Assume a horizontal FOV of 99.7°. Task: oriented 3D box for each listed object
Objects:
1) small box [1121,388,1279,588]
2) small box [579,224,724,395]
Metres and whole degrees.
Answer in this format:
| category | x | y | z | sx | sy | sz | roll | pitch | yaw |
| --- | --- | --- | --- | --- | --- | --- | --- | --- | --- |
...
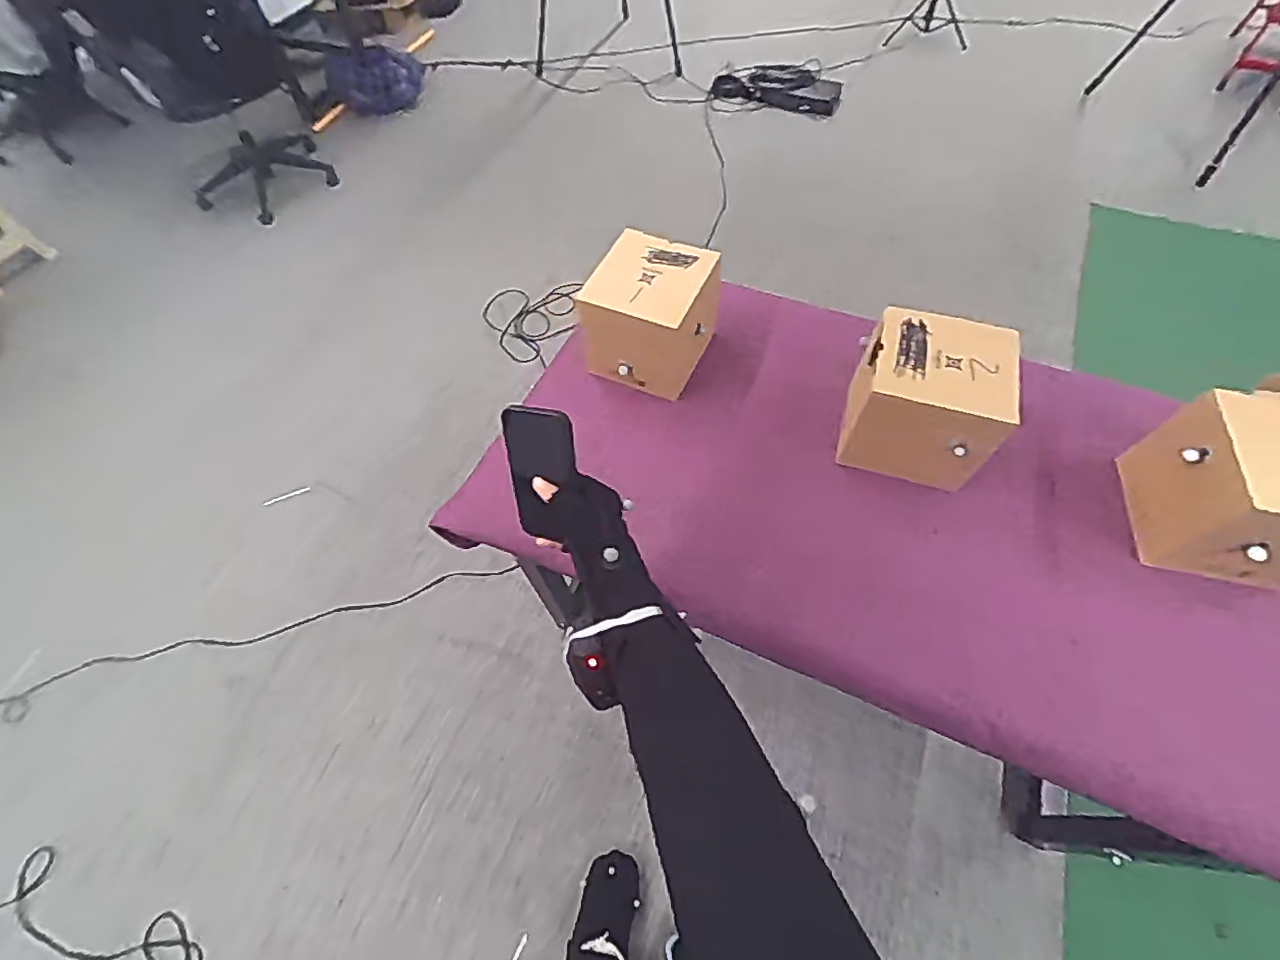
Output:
| category | x | y | z | sx | sy | sz | roll | pitch | yaw |
| --- | --- | --- | --- | --- | --- | --- | --- | --- | --- |
| small box | 0.756 | 0.016 | 0.673 | 0.168 | 0.176 | 0.179 | 11 | 60 | 10 |
| small box | 0.021 | -0.271 | 0.873 | 0.168 | 0.176 | 0.179 | 22 | 64 | 15 |
